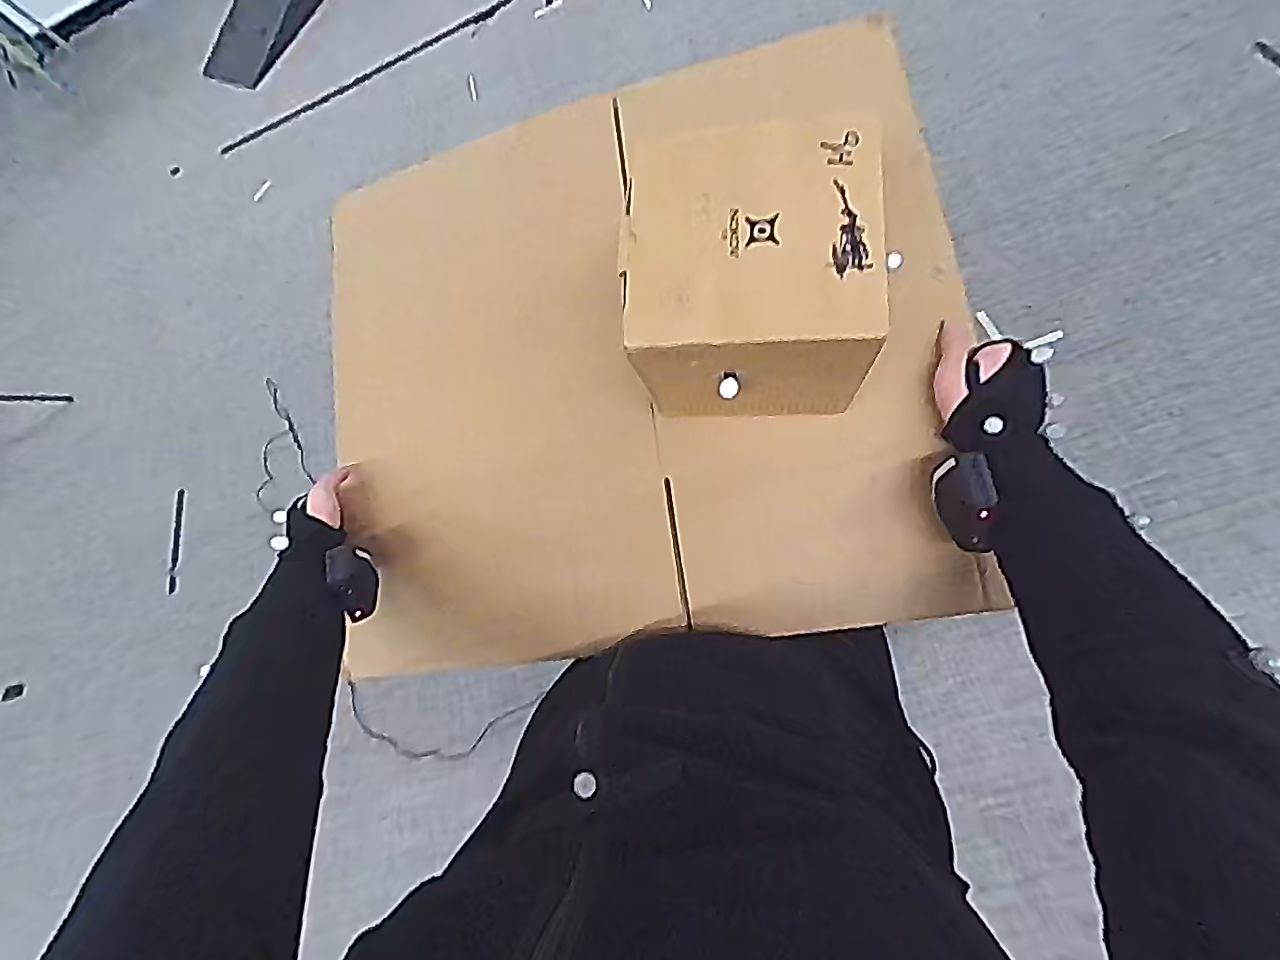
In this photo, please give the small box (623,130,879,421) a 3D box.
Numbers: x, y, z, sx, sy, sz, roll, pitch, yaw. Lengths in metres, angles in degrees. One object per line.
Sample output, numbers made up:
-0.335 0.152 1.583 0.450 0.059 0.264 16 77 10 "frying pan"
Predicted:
0.093 -0.150 0.460 0.179 0.176 0.168 0 81 12 "small box"
